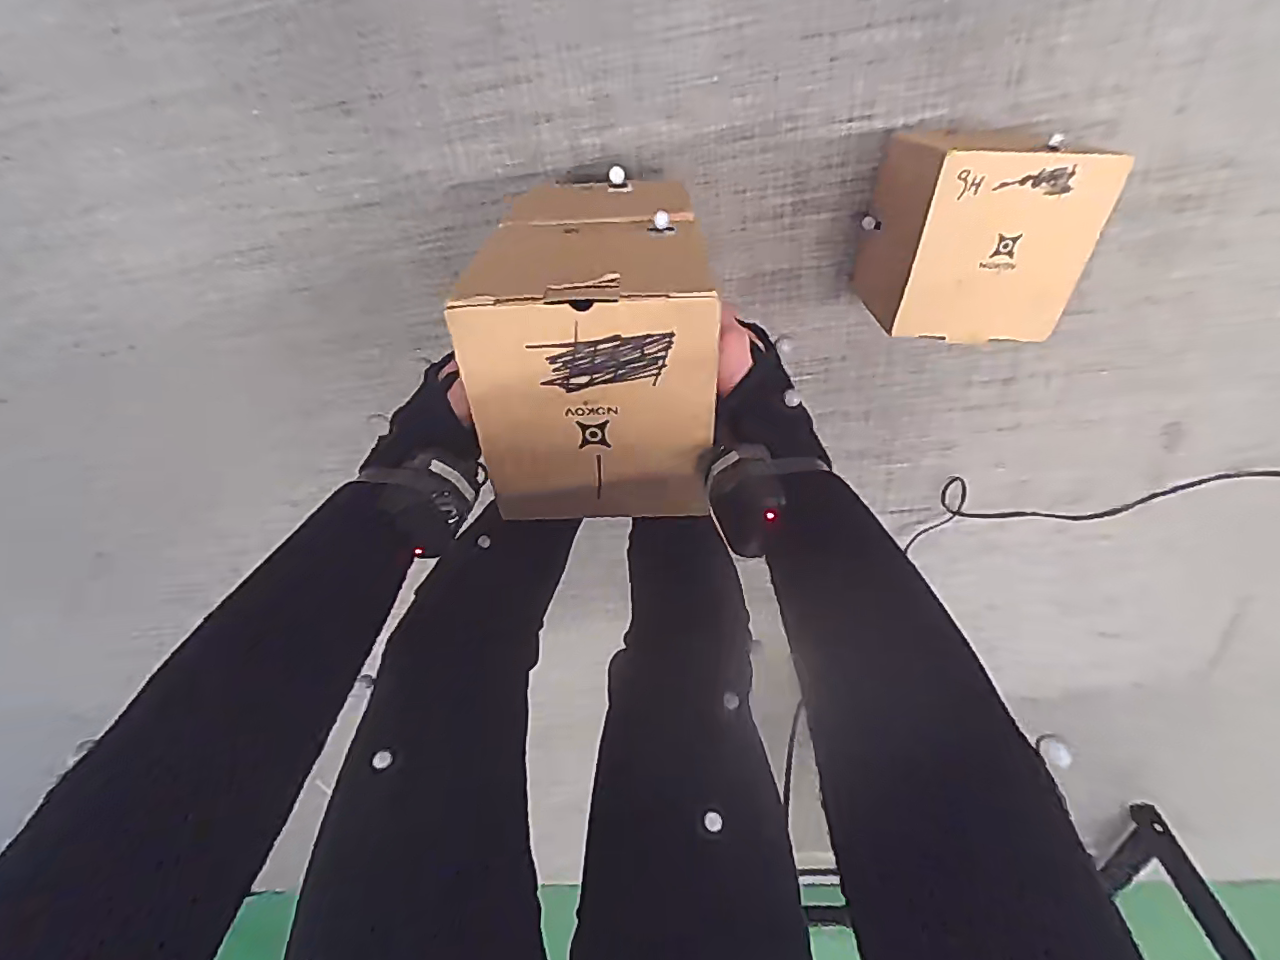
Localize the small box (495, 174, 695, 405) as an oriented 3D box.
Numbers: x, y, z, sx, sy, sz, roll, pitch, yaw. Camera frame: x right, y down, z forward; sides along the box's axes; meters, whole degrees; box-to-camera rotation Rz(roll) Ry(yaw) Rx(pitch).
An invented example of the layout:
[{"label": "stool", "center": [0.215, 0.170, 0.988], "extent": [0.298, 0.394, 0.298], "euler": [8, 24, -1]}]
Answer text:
[{"label": "small box", "center": [-0.030, -0.194, 0.549], "extent": [0.168, 0.176, 0.179], "euler": [-2, 127, 3]}]

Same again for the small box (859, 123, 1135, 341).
[{"label": "small box", "center": [0.353, -0.270, 0.585], "extent": [0.168, 0.176, 0.179], "euler": [3, 129, 2]}]
